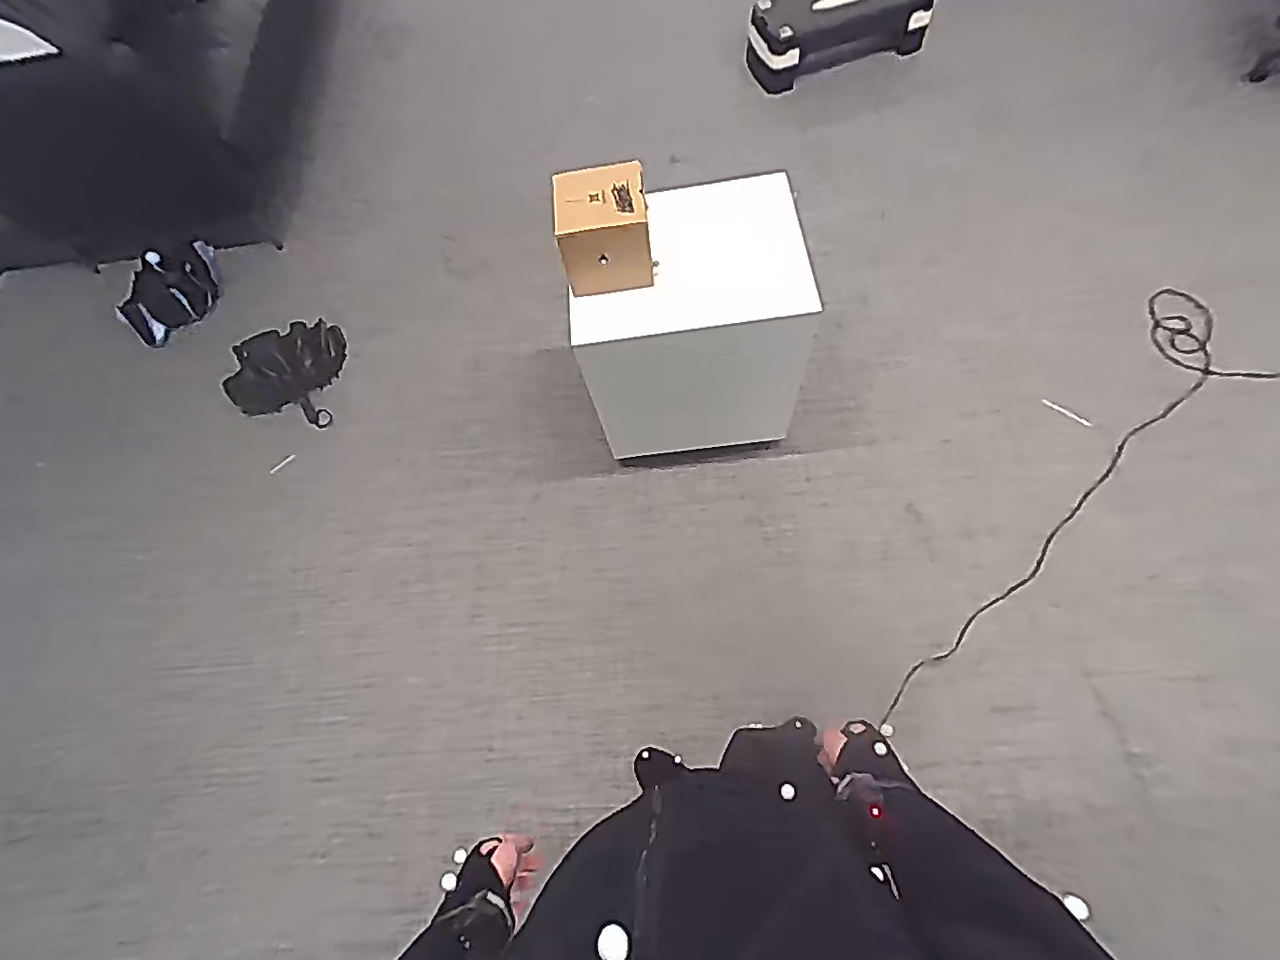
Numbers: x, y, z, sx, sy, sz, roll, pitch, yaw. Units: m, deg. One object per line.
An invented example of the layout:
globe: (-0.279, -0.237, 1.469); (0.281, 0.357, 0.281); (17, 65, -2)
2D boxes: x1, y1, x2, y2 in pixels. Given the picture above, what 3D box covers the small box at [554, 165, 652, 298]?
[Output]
small box: (-0.069, -0.497, 1.100); (0.179, 0.176, 0.168); (-8, 66, 4)
